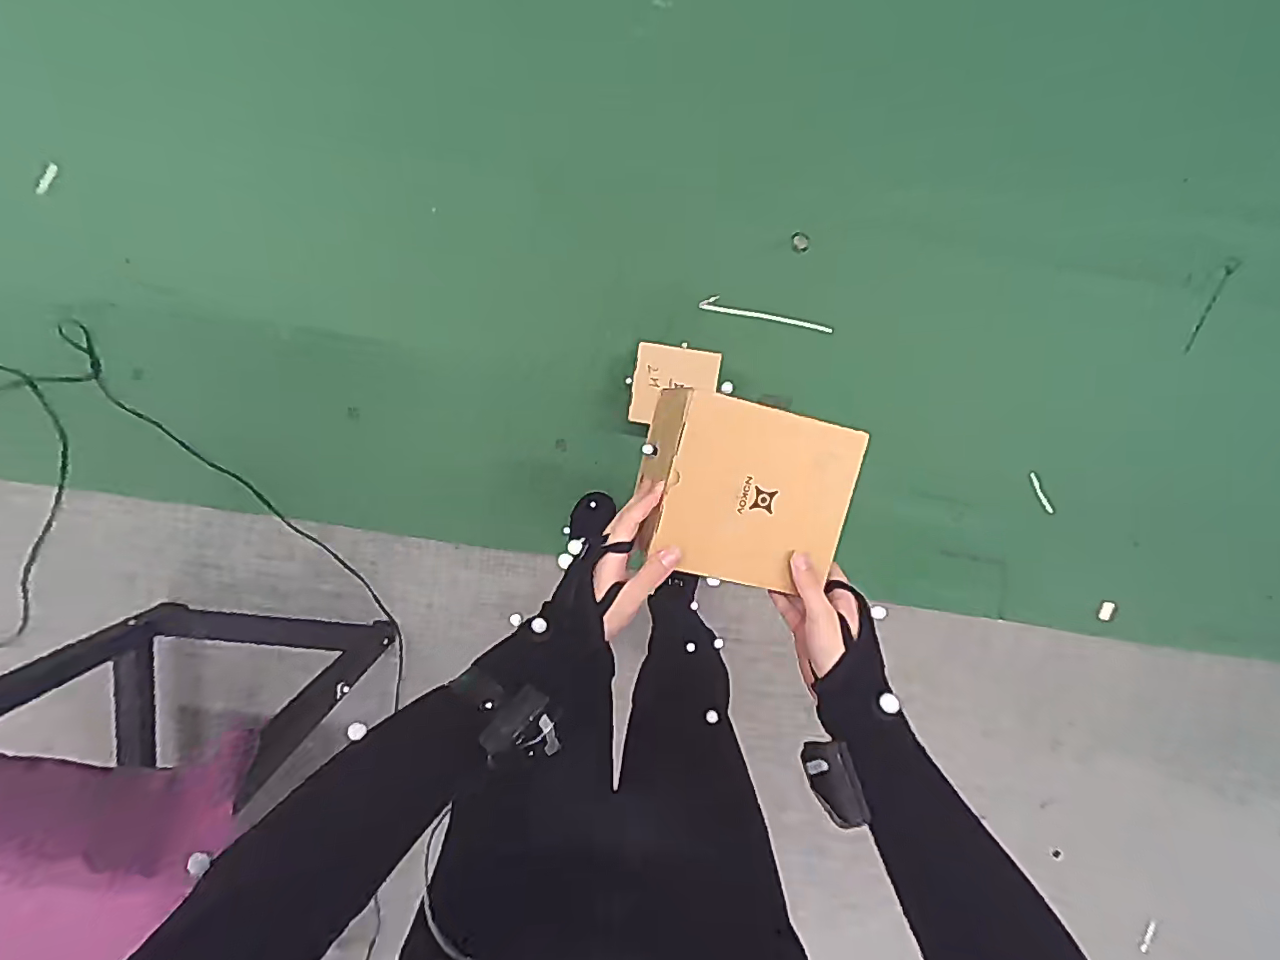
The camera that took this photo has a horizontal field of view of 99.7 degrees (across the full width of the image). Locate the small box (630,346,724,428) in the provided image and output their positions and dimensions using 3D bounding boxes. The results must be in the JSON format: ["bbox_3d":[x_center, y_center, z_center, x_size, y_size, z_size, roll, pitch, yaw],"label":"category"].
[{"bbox_3d":[0.075,-0.196,1.203,0.179,0.176,0.168,9,98,-2],"label":"small box"}]

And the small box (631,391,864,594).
[{"bbox_3d":[0.098,0.003,0.578,0.179,0.176,0.168,12,97,-8],"label":"small box"}]
